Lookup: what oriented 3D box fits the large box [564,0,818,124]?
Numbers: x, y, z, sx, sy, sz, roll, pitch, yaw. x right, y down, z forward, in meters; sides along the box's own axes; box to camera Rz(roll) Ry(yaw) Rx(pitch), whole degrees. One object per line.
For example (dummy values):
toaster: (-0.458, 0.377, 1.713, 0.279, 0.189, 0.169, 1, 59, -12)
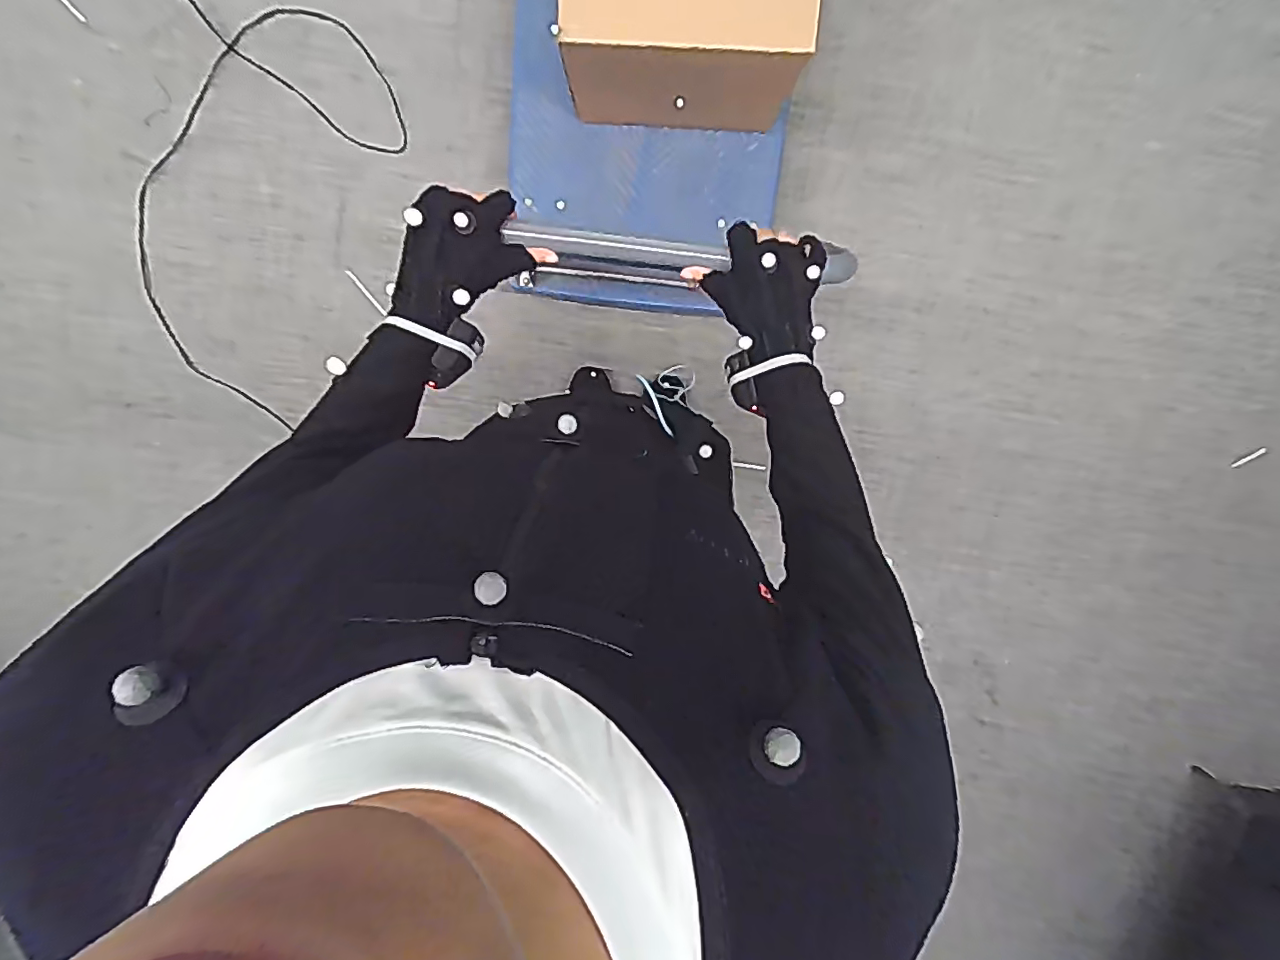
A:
large box: (0.085, -0.867, 0.969, 0.408, 0.320, 0.320, 2, 103, 1)
